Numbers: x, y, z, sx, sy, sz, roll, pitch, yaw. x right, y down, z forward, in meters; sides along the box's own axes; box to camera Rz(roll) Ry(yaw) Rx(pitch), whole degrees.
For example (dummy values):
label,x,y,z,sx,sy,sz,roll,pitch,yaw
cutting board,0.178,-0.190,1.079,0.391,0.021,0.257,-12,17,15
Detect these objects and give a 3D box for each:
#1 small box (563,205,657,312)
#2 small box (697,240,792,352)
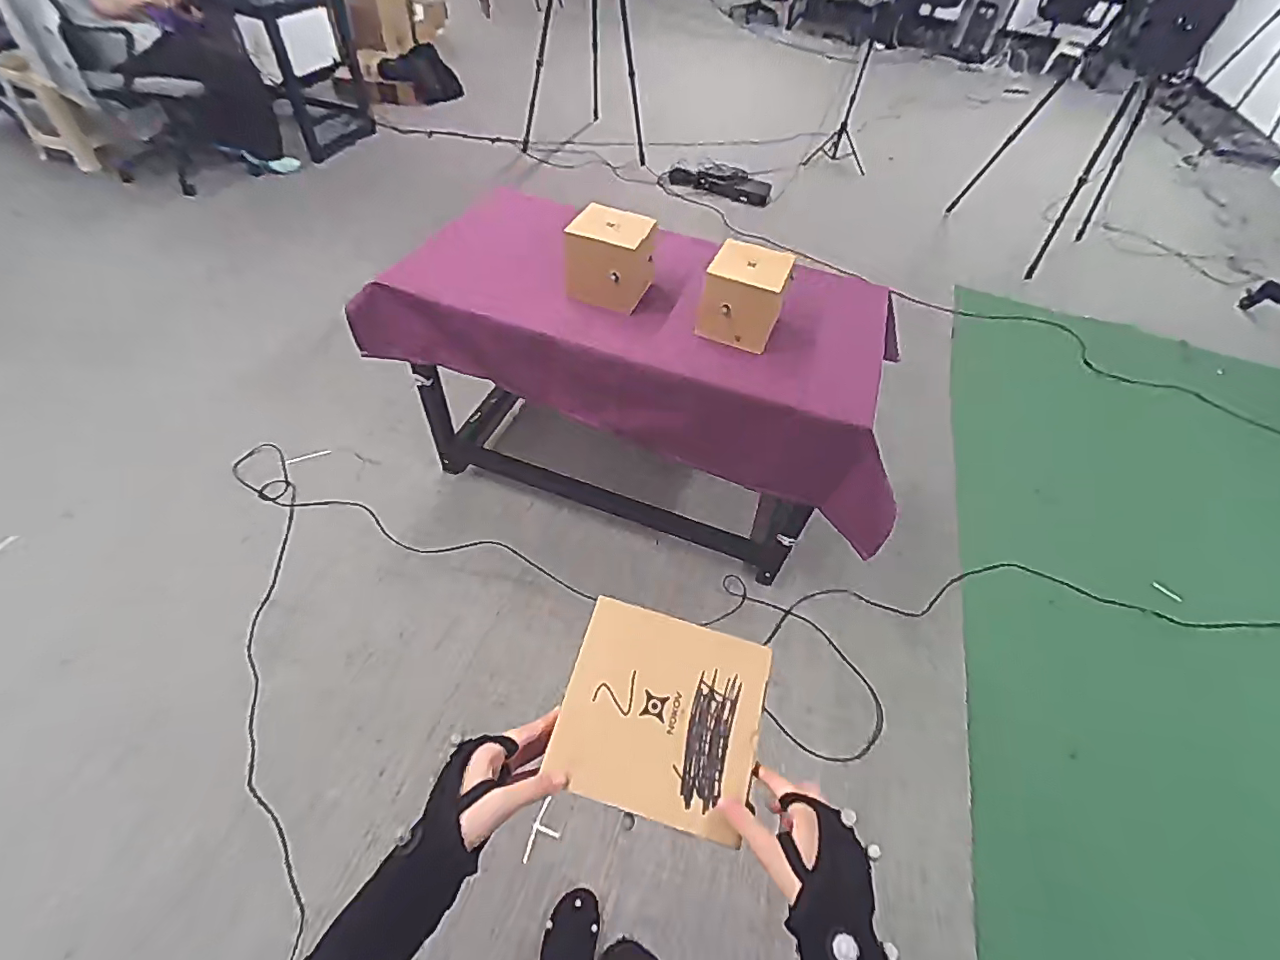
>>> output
label,x,y,z,sx,sy,sz,roll,pitch,yaw
small box,-0.073,-0.535,1.319,0.179,0.176,0.168,19,50,9
small box,0.239,-0.426,1.264,0.168,0.176,0.179,20,51,10
